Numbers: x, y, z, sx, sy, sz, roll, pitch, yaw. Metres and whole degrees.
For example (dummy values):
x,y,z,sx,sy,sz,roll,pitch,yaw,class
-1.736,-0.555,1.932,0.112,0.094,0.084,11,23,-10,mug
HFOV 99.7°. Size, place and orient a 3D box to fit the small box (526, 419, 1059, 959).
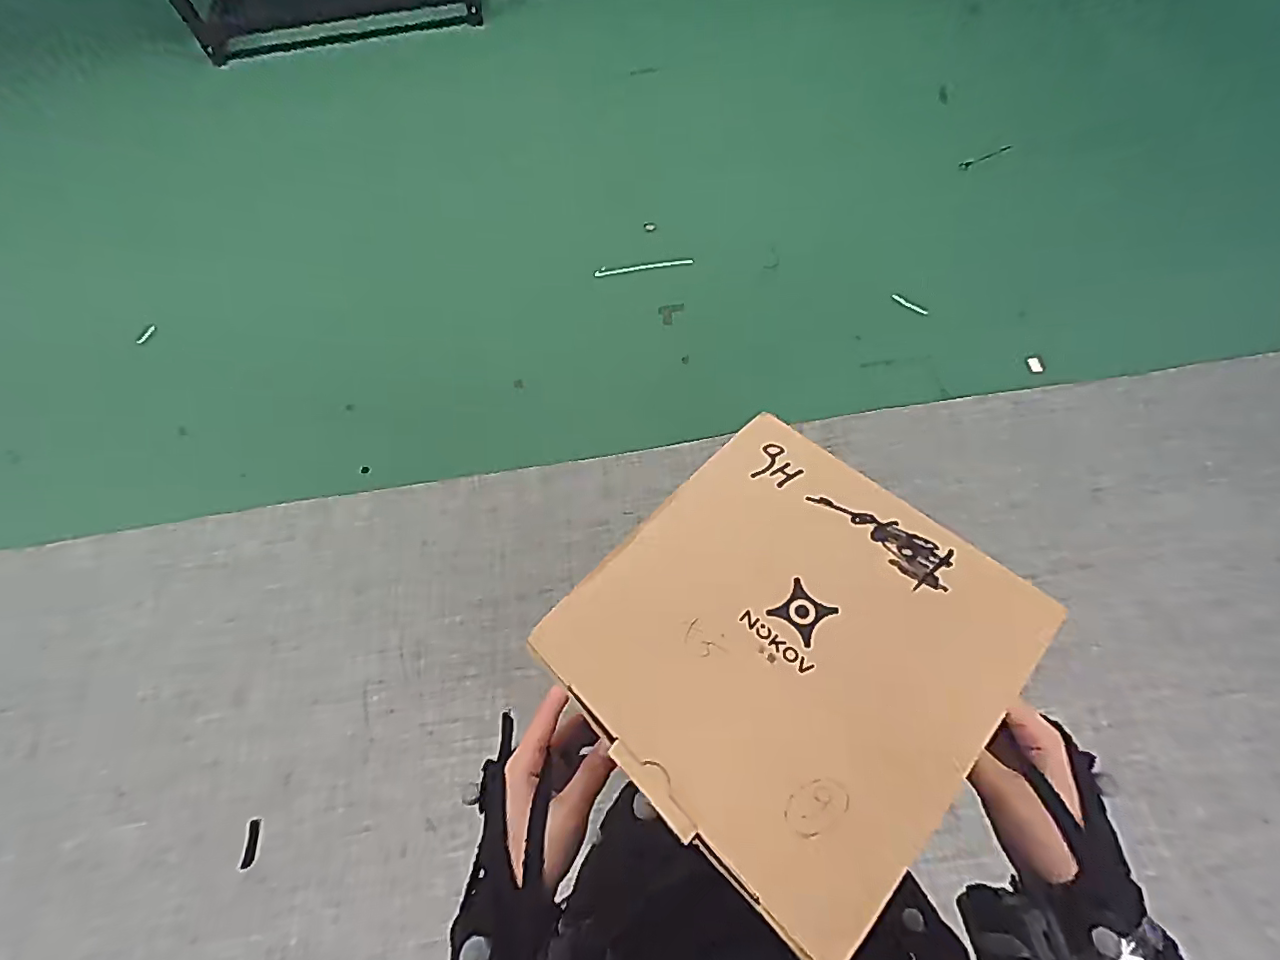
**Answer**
x,y,z,sx,sy,sz,roll,pitch,yaw,class
0.071,0.107,0.306,0.179,0.176,0.168,-42,64,-18,small box
